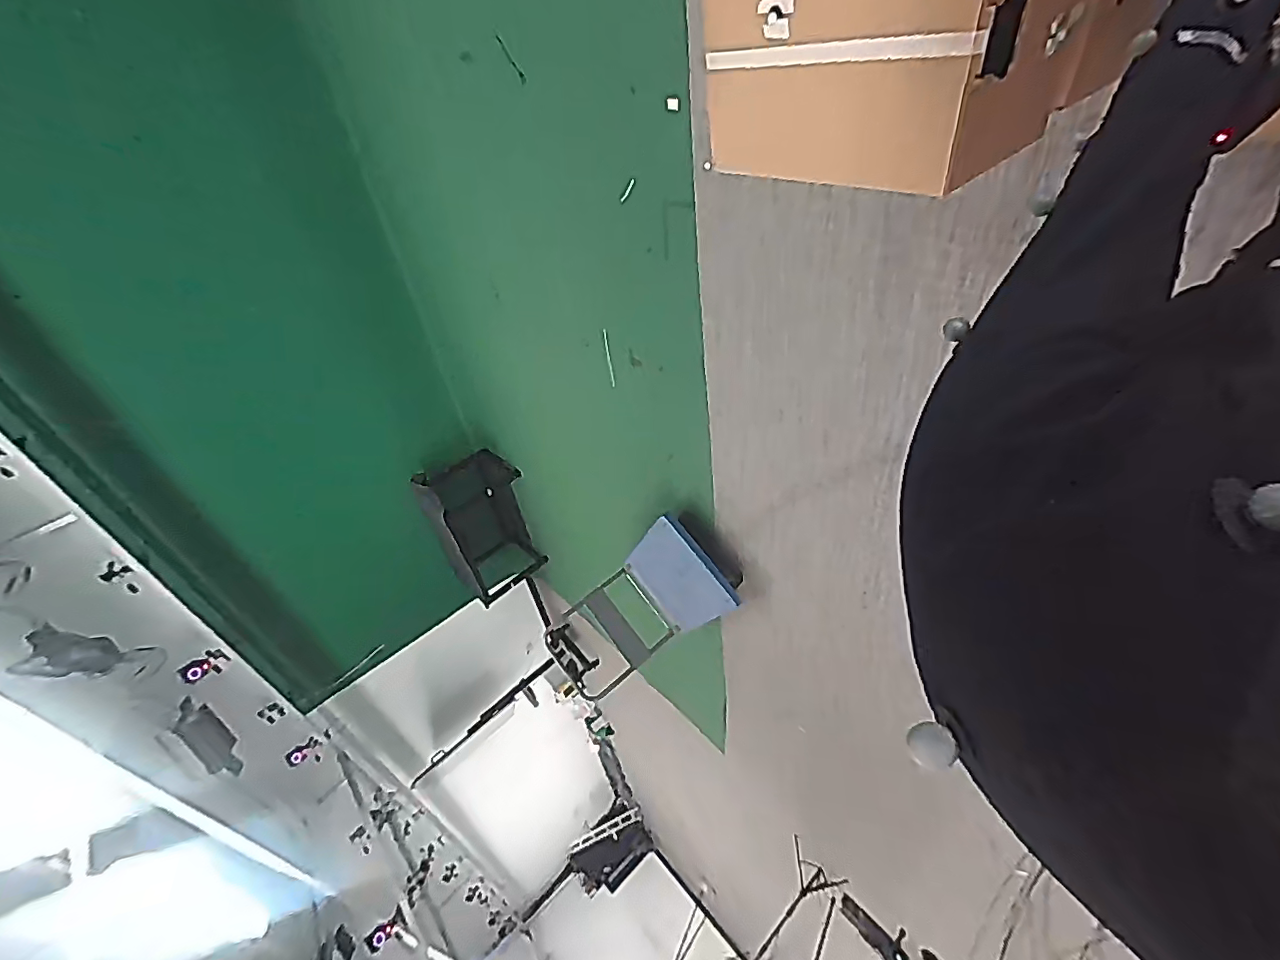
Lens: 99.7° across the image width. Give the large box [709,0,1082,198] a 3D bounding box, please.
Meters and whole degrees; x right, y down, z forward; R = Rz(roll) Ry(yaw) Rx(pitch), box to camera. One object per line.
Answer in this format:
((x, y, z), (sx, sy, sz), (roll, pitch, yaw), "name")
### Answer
((0.355, -0.638, 0.782), (0.408, 0.320, 0.320), (34, 147, 38), "large box")
